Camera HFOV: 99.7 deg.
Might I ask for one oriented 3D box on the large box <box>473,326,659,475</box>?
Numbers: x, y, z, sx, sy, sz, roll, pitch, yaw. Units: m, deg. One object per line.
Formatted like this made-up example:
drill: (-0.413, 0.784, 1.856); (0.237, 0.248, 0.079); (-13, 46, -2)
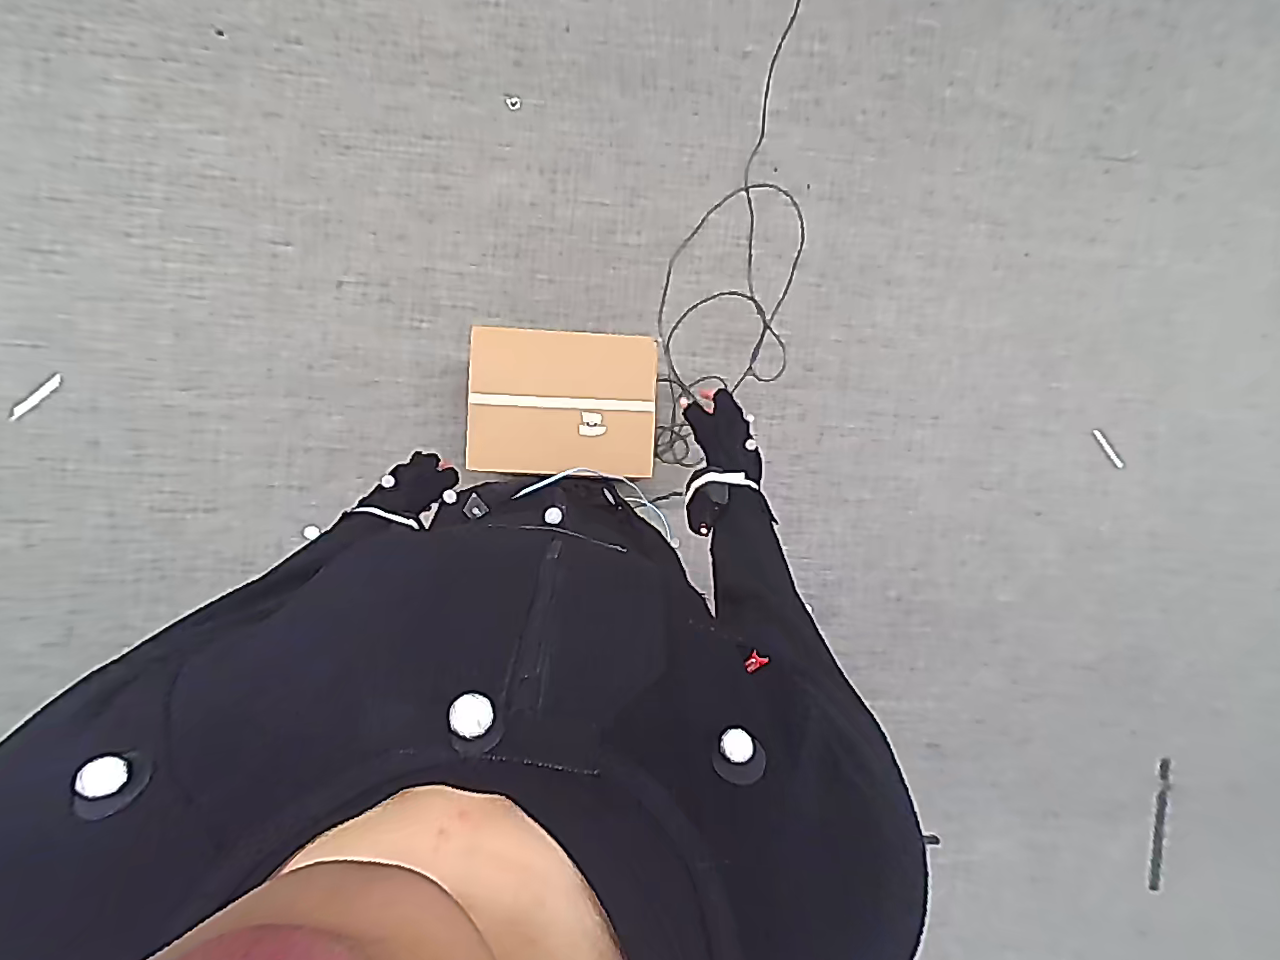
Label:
large box: (-0.174, -0.173, 1.333); (0.408, 0.320, 0.320); (3, 90, -4)
